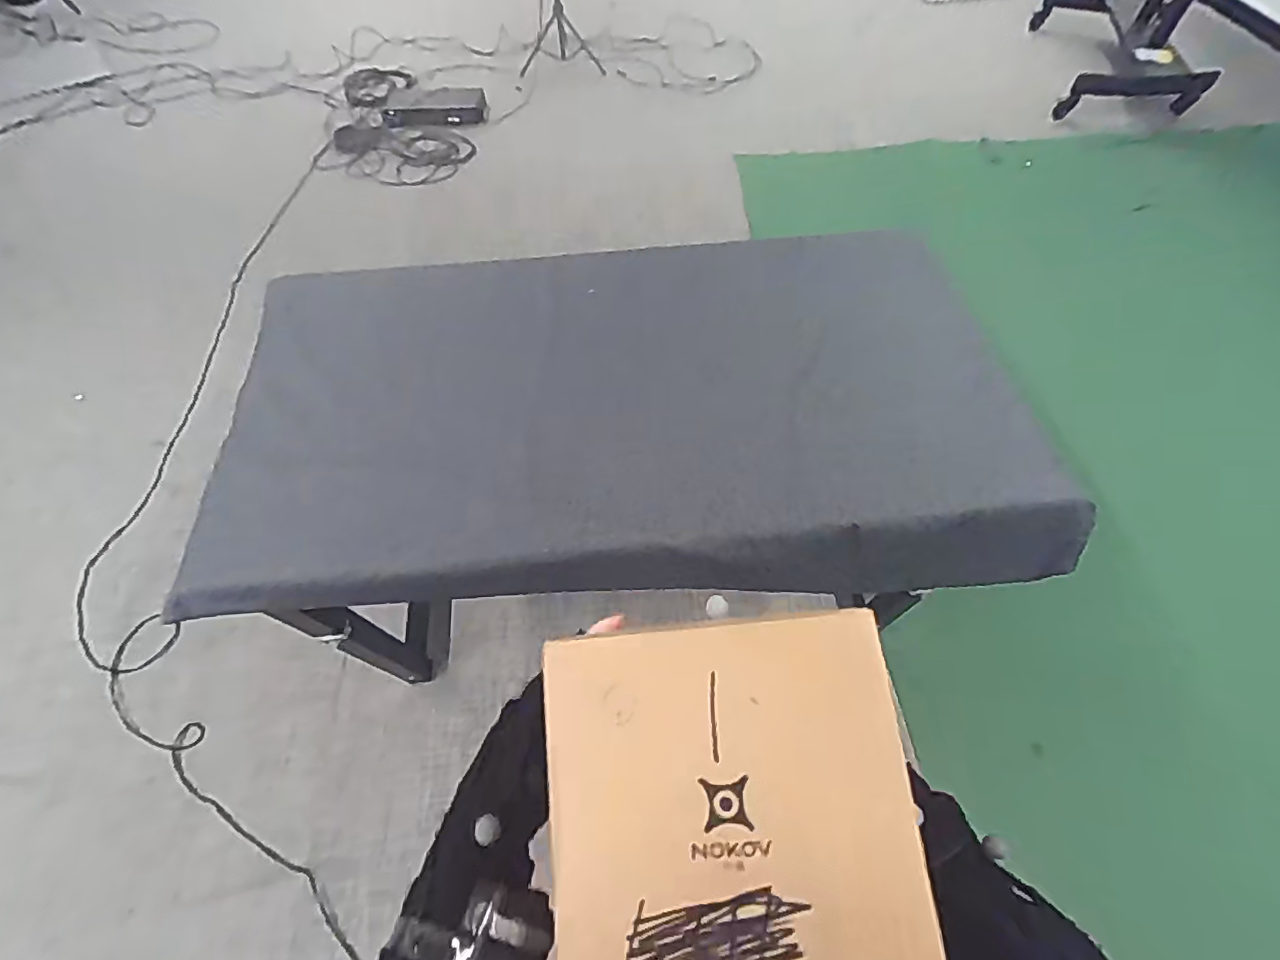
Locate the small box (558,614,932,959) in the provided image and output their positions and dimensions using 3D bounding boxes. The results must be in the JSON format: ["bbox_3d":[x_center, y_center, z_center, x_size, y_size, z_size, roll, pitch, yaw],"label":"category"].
[{"bbox_3d":[0.053,0.180,0.333,0.168,0.176,0.179,-6,72,6],"label":"small box"}]
